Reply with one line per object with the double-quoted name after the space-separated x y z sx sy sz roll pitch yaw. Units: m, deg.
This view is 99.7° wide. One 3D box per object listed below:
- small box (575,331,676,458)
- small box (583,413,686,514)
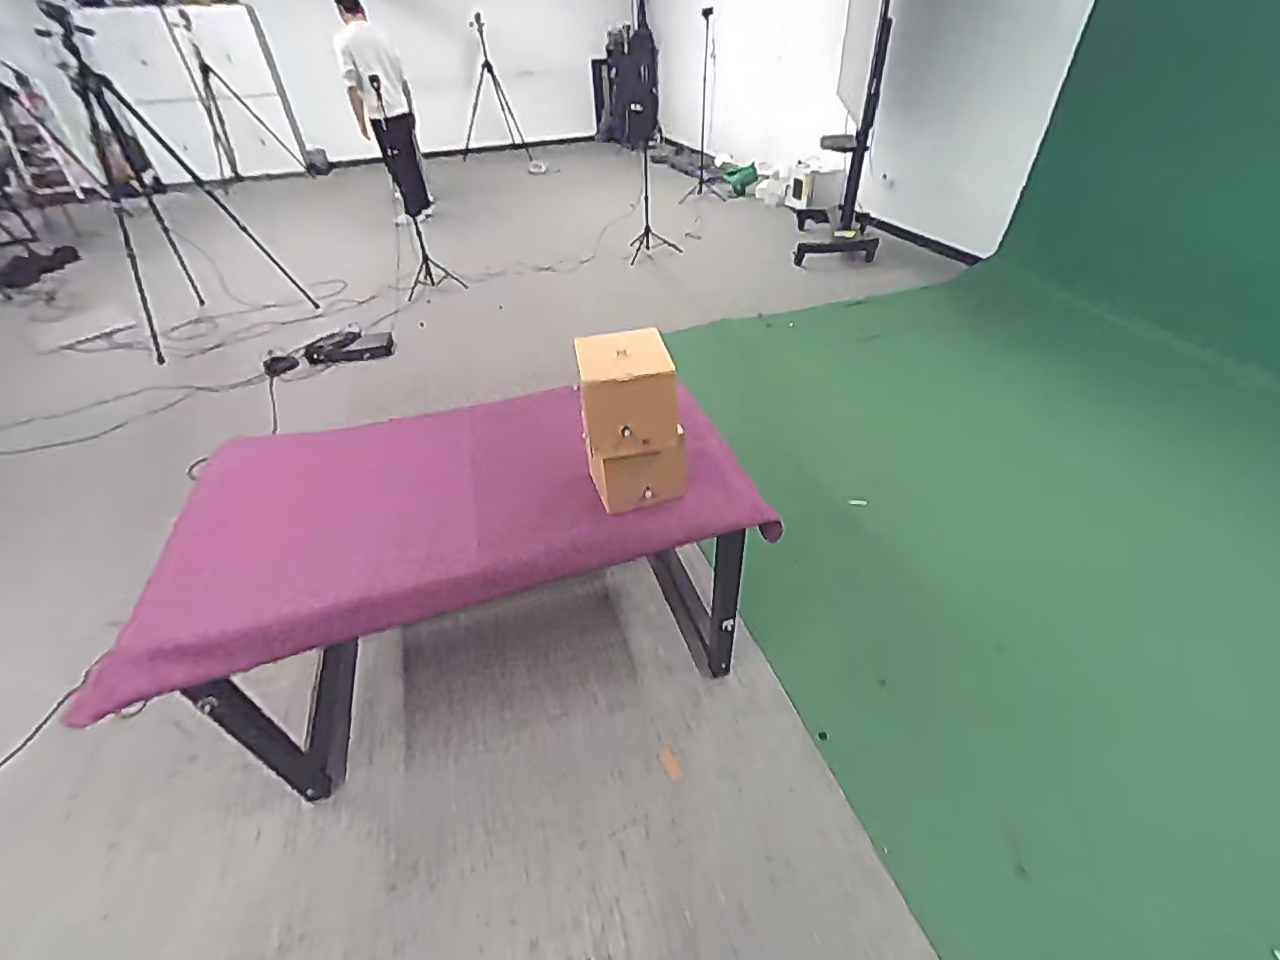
-0.029 -0.165 1.034 0.168 0.176 0.179 -9 40 -6 "small box"
-0.013 -0.053 1.155 0.179 0.176 0.168 -14 39 -12 "small box"
